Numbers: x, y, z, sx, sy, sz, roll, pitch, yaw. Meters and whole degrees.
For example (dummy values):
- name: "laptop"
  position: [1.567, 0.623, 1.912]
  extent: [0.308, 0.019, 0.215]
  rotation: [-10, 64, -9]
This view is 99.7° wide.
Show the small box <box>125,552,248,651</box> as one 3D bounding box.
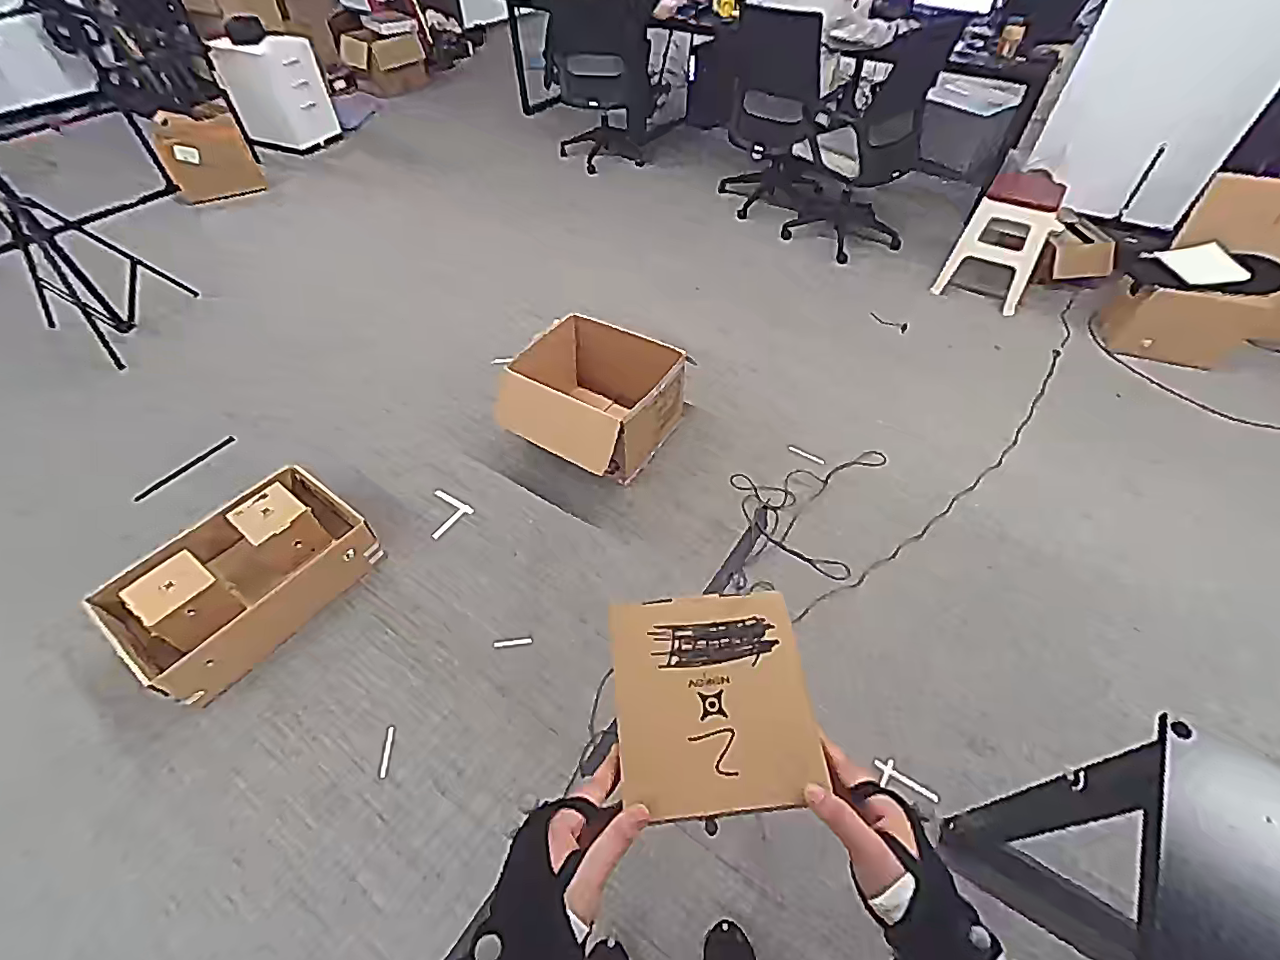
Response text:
- name: "small box"
  position: [-1.253, 0.342, 1.506]
  extent: [0.168, 0.176, 0.179]
  rotation: [30, 55, 20]

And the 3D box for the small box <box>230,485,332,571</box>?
- name: "small box"
  position: [-1.093, 0.156, 1.661]
  extent: [0.179, 0.176, 0.168]
  rotation: [32, 58, 22]
